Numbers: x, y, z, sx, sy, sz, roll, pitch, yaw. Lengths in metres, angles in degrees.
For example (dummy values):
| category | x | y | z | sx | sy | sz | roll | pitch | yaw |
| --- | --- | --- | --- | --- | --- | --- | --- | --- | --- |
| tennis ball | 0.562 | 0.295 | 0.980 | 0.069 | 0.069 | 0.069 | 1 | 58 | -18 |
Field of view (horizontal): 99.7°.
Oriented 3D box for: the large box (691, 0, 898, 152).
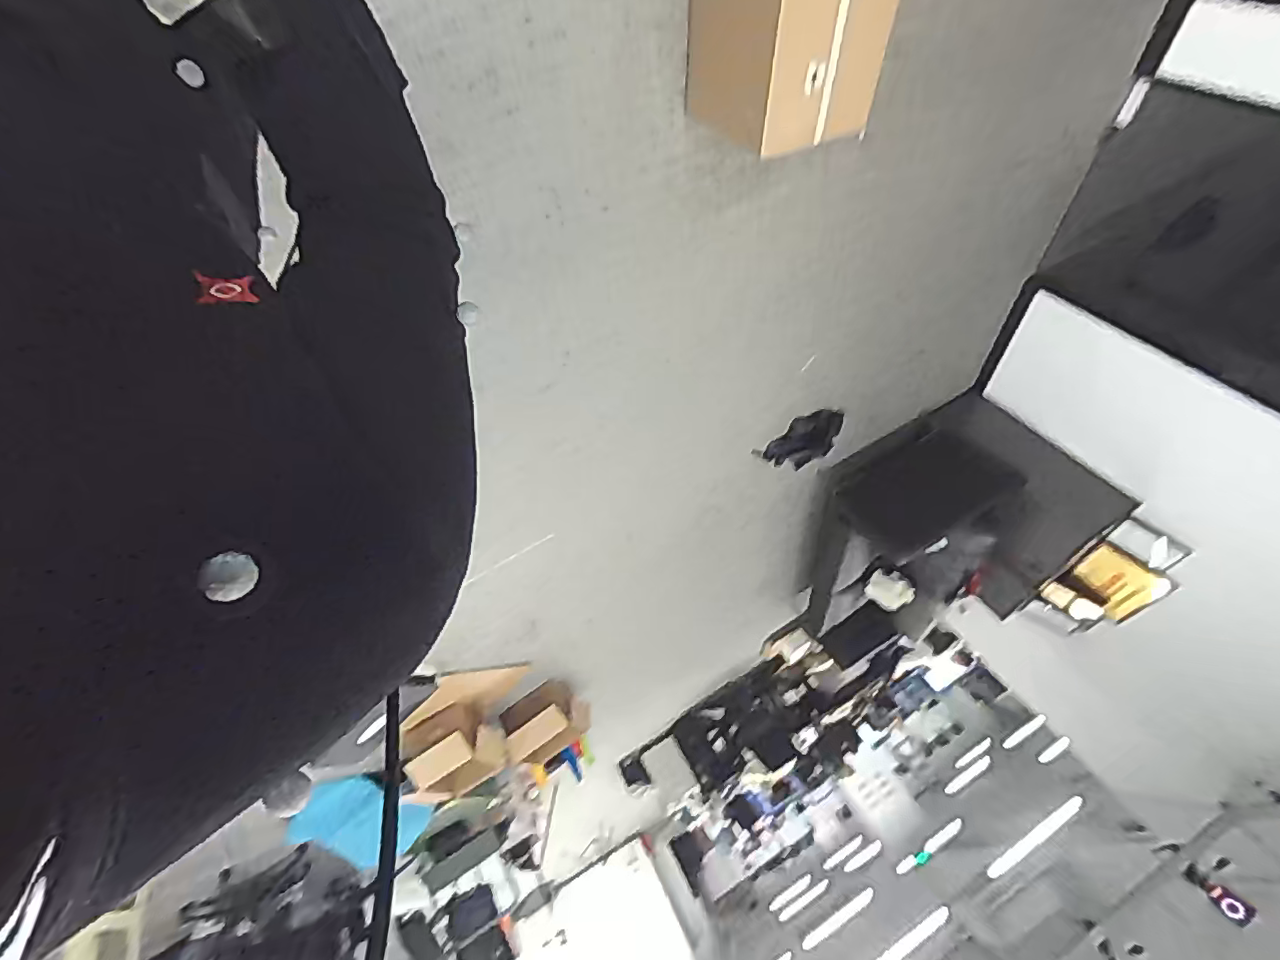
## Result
| category | x | y | z | sx | sy | sz | roll | pitch | yaw |
| --- | --- | --- | --- | --- | --- | --- | --- | --- | --- |
| large box | 0.321 | -1.003 | 1.154 | 0.320 | 0.320 | 0.408 | -24 | 146 | -16 |
